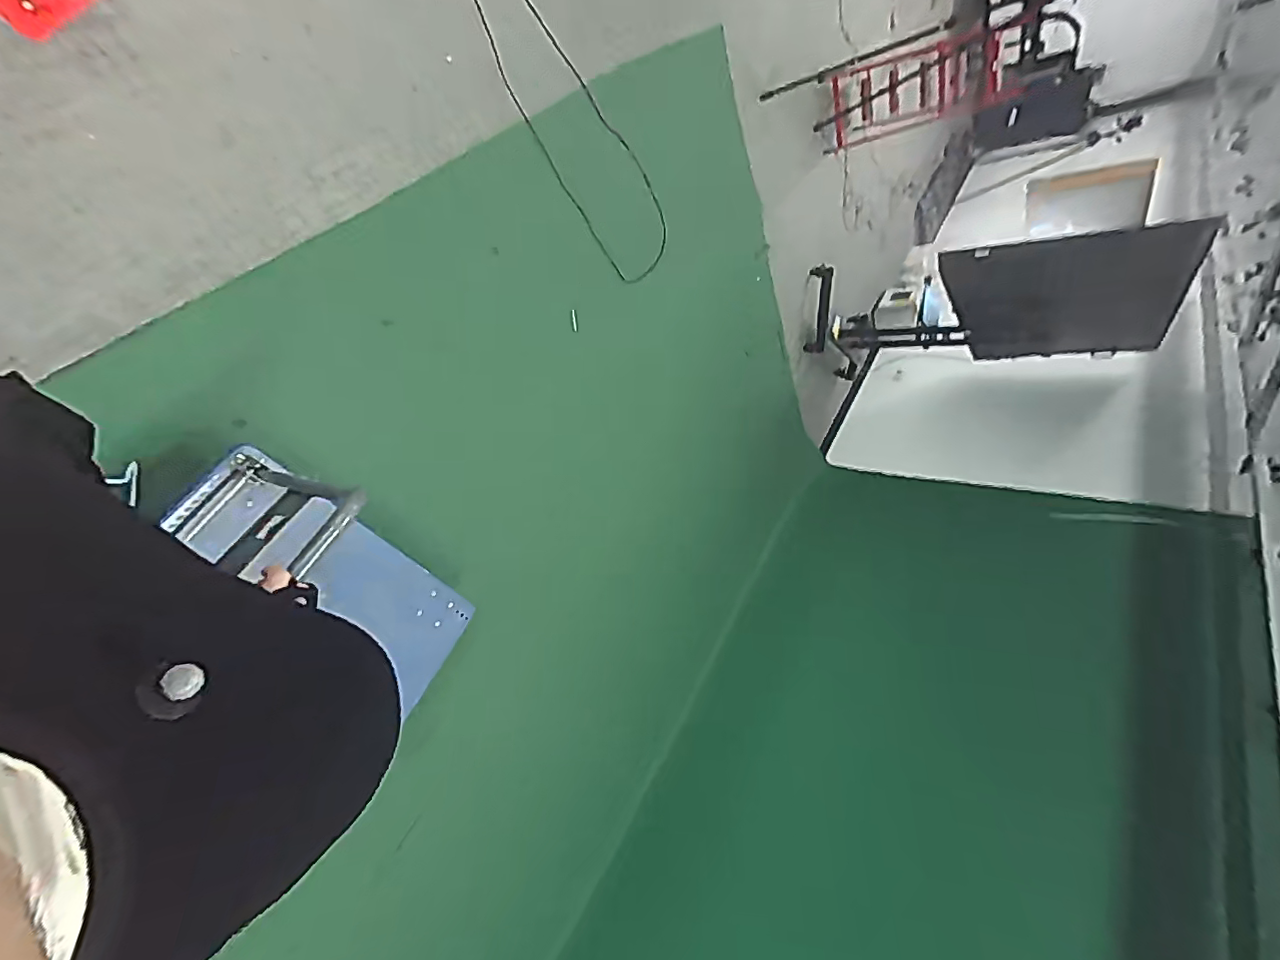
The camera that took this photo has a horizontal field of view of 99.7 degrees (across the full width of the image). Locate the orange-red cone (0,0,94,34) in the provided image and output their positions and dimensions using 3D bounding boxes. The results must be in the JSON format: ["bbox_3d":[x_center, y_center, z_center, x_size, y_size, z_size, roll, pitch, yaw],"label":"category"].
[{"bbox_3d":[-1.034,-0.958,0.902,0.198,0.360,0.199,49,59,-46],"label":"orange-red cone"}]
